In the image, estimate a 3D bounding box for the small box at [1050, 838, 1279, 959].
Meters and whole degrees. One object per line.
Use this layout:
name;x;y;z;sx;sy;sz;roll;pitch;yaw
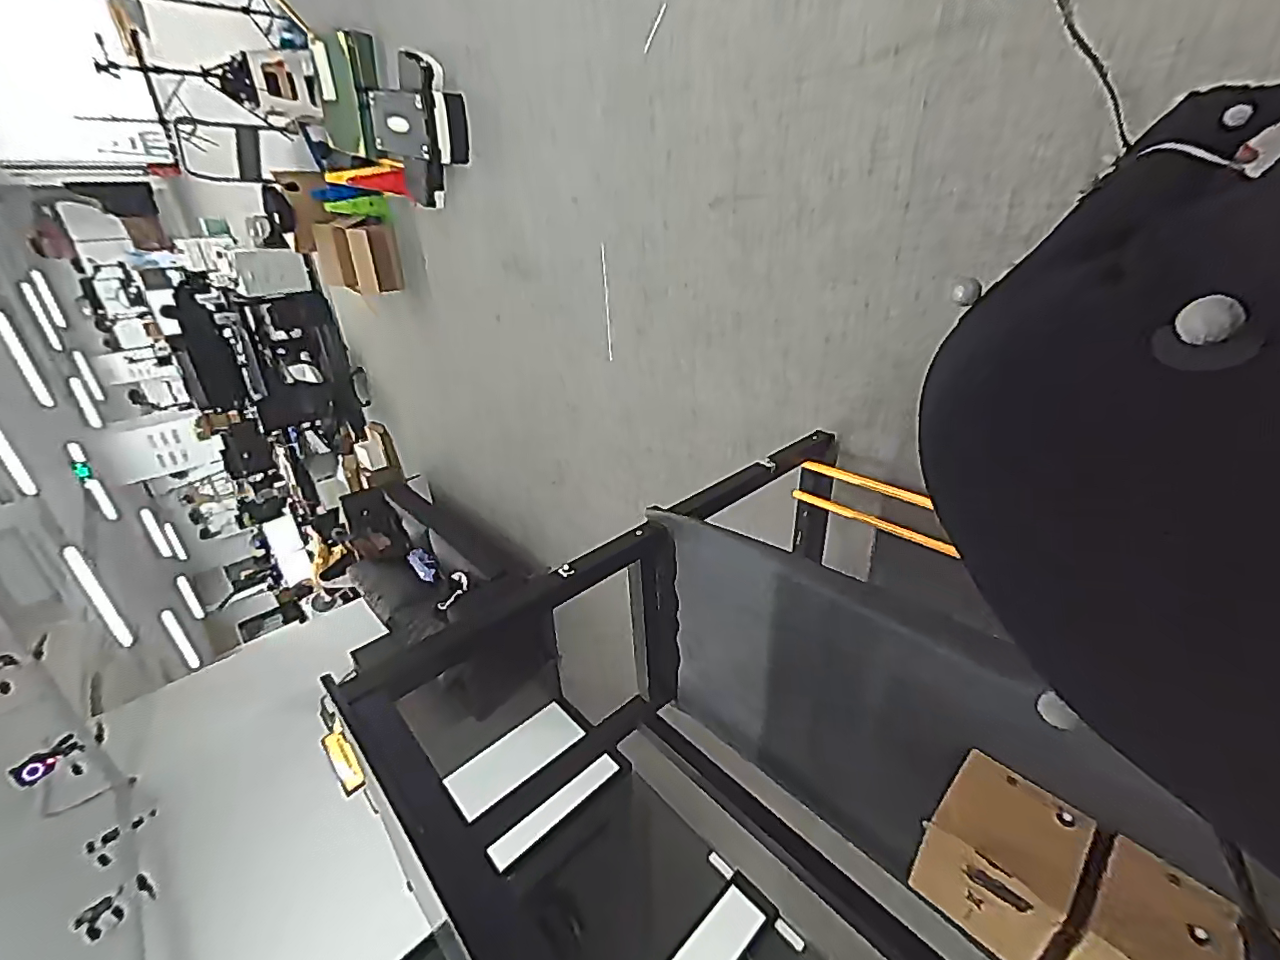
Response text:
small box;0.657;0.613;0.689;0.168;0.176;0.179;28;131;41
